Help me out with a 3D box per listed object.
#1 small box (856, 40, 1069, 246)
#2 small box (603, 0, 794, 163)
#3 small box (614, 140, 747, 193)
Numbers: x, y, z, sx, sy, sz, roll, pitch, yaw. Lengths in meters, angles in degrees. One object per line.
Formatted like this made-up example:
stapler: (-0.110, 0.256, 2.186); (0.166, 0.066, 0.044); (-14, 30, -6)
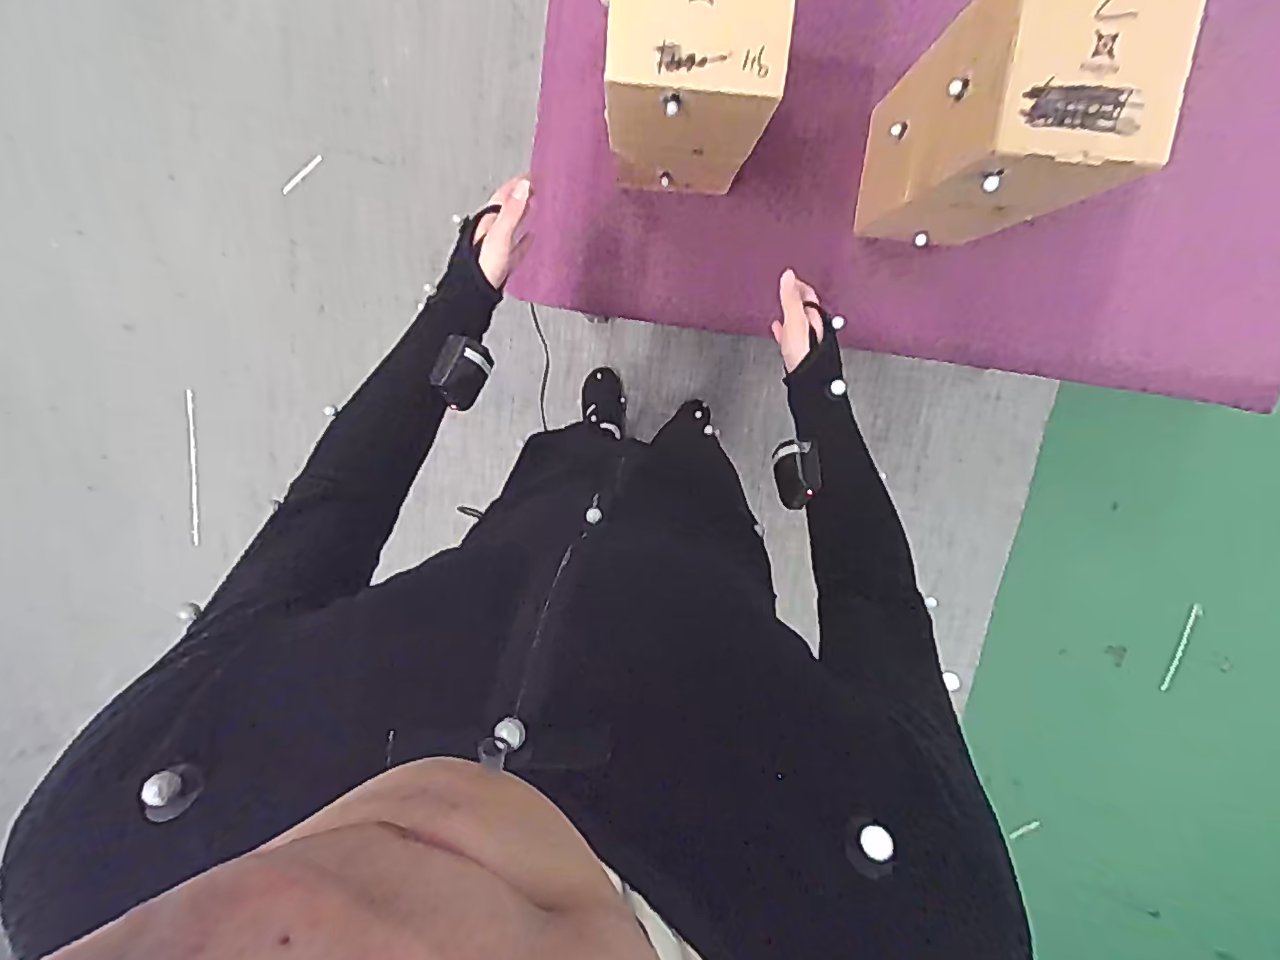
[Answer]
small box: (0.409, -0.430, 0.720); (0.168, 0.176, 0.179); (6, 101, -1)
small box: (0.052, -0.453, 0.546); (0.168, 0.176, 0.179); (4, 101, -2)
small box: (0.052, -0.499, 0.703); (0.168, 0.176, 0.179); (2, 102, -2)
